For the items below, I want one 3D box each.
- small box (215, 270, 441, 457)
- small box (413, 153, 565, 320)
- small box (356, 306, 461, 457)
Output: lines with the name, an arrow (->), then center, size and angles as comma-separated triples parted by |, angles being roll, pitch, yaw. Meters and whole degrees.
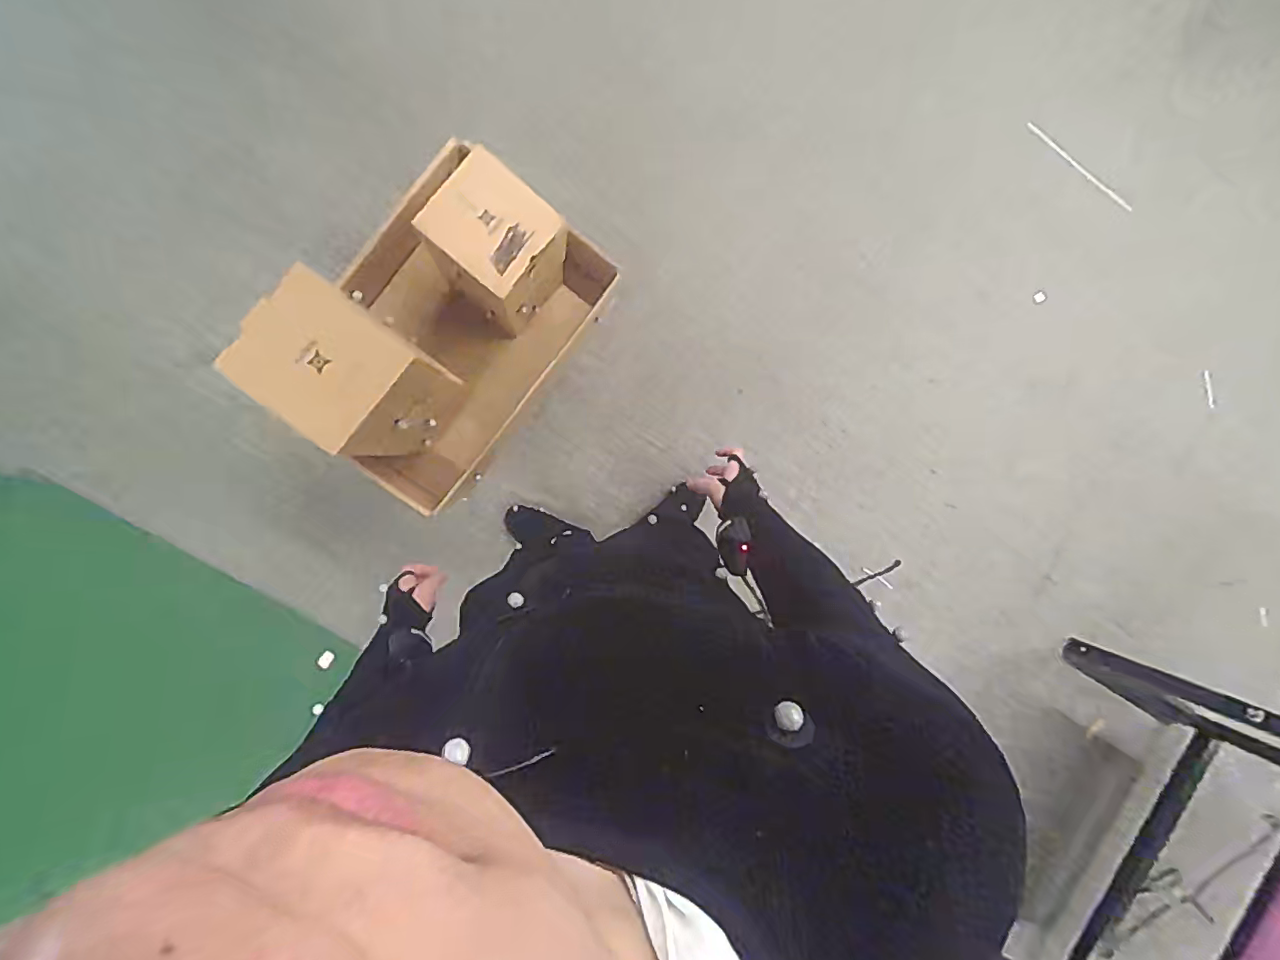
small box -> -0.407, -0.145, 0.743 | 0.179, 0.176, 0.168 | 39, 88, -8
small box -> -0.244, -0.394, 0.920 | 0.179, 0.176, 0.168 | 39, 86, -8
small box -> -0.430, -0.152, 0.904 | 0.179, 0.176, 0.168 | 40, 88, -8
